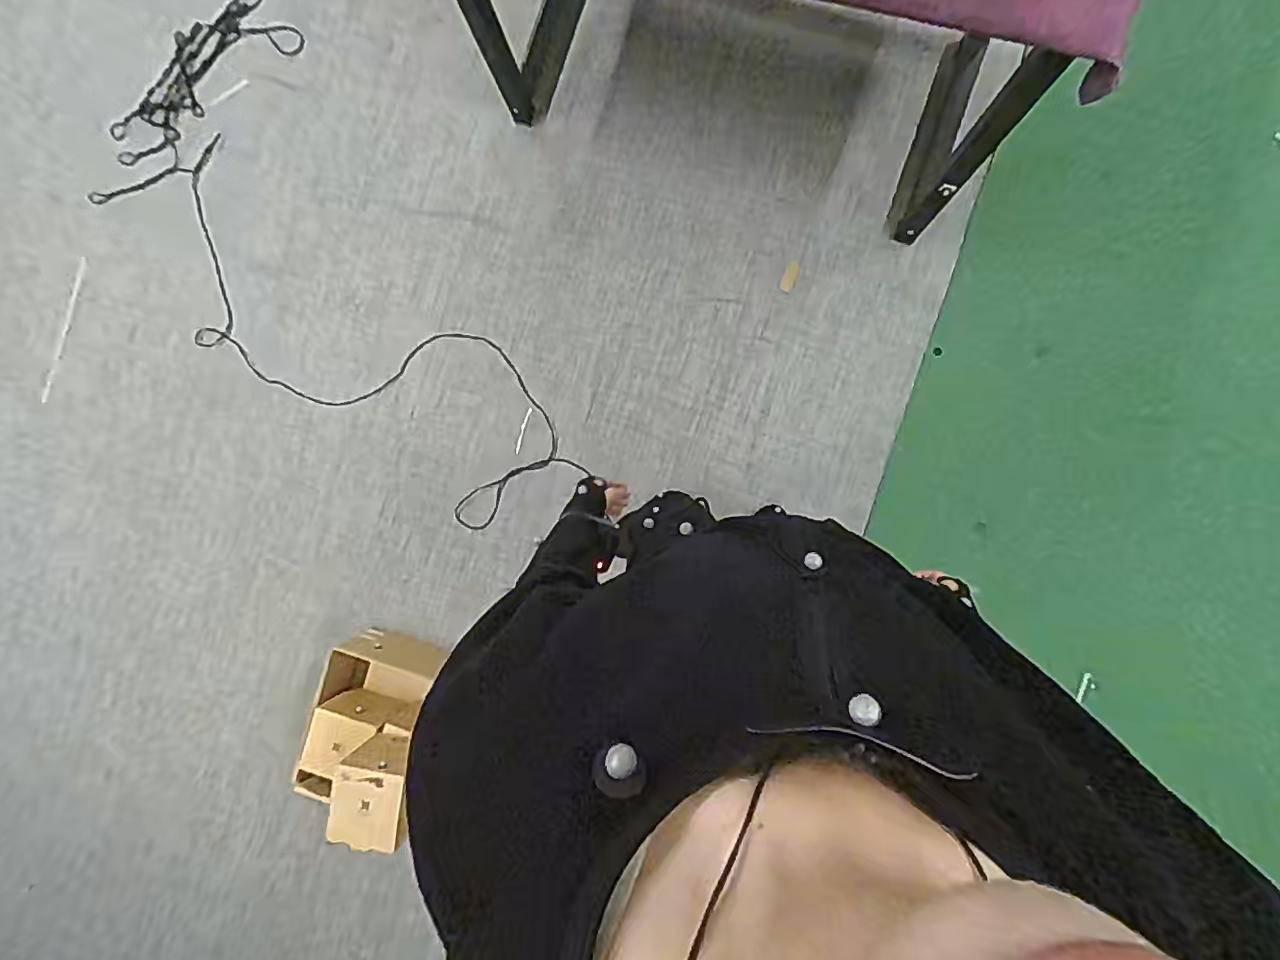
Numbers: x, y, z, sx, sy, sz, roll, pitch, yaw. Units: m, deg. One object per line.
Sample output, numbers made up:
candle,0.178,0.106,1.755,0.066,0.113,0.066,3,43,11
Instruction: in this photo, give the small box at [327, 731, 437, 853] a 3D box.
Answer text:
small box,-0.601,0.730,1.281,0.168,0.176,0.179,8,89,5
